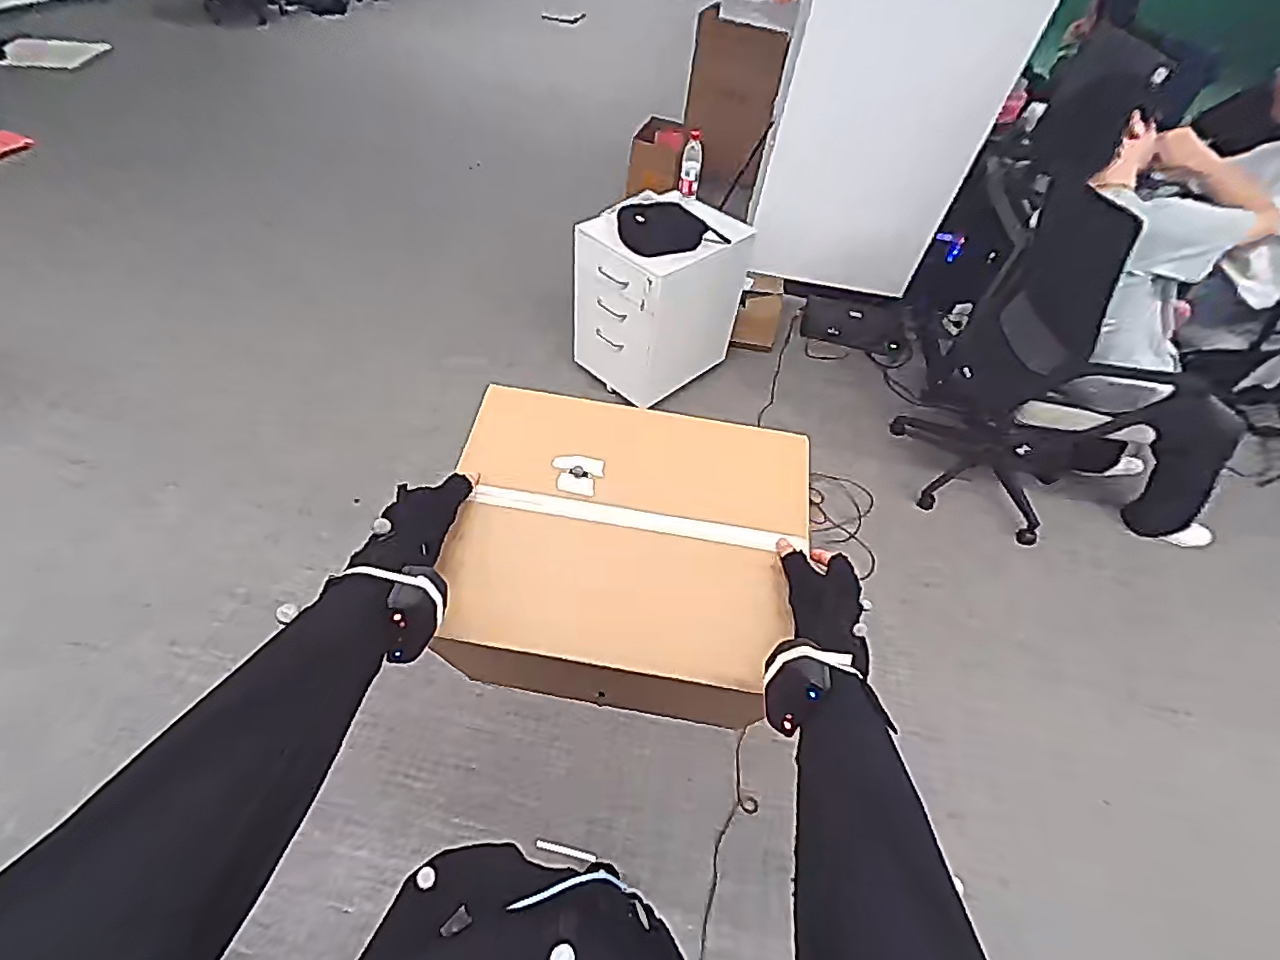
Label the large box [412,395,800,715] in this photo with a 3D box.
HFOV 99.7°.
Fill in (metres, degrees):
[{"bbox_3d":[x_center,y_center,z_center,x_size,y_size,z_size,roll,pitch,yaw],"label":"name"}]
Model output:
[{"bbox_3d":[-0.021,0.121,0.744,0.408,0.320,0.320,9,60,2],"label":"large box"}]
